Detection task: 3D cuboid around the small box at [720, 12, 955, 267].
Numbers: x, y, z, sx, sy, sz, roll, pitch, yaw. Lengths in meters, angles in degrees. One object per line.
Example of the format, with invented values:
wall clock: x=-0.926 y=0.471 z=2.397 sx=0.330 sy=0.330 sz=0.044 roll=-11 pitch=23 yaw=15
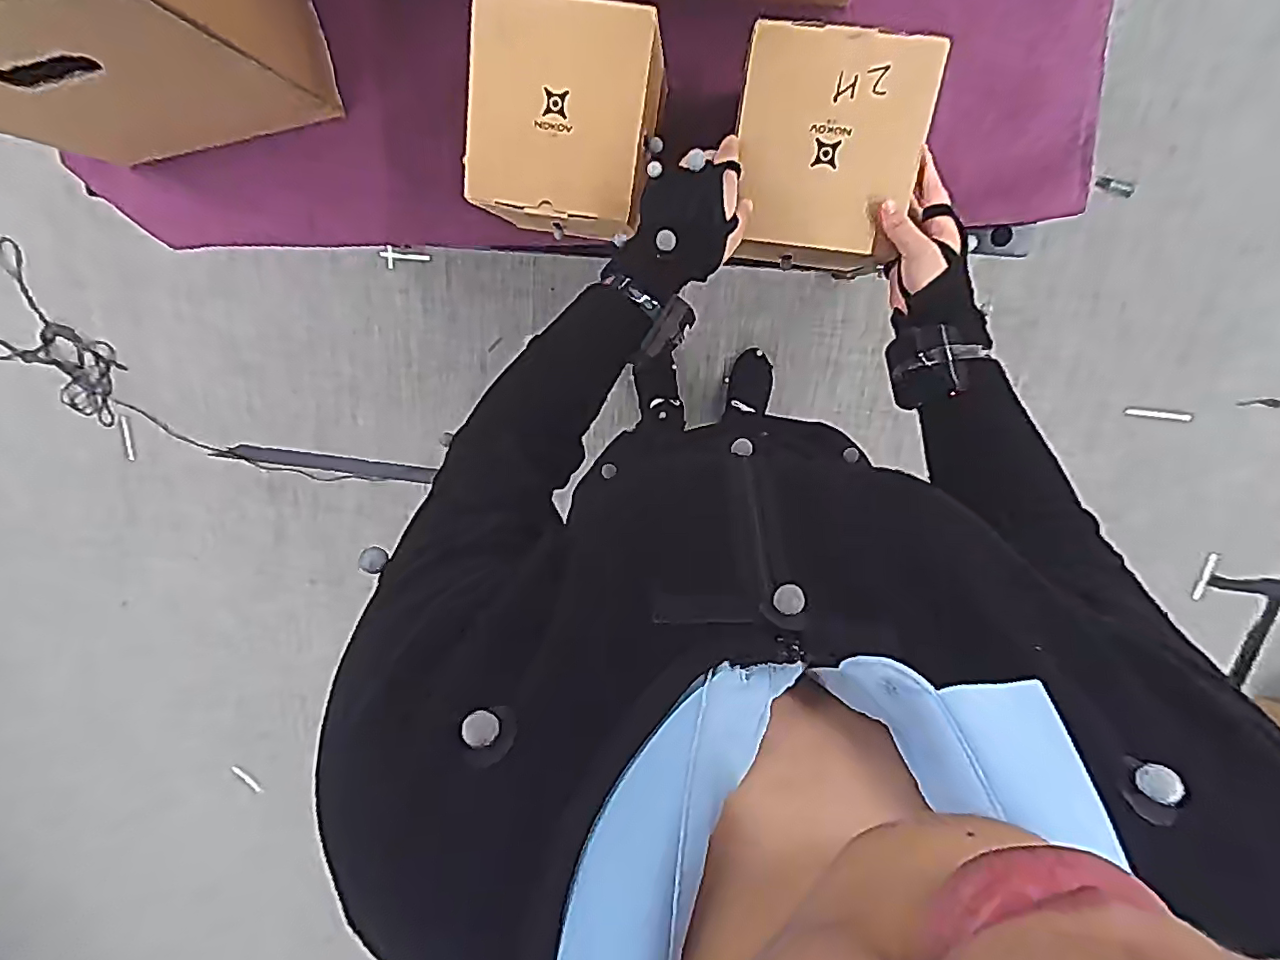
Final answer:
small box: x=0.177 y=-0.321 z=0.550 sx=0.168 sy=0.176 sz=0.179 roll=9 pitch=107 yaw=3
